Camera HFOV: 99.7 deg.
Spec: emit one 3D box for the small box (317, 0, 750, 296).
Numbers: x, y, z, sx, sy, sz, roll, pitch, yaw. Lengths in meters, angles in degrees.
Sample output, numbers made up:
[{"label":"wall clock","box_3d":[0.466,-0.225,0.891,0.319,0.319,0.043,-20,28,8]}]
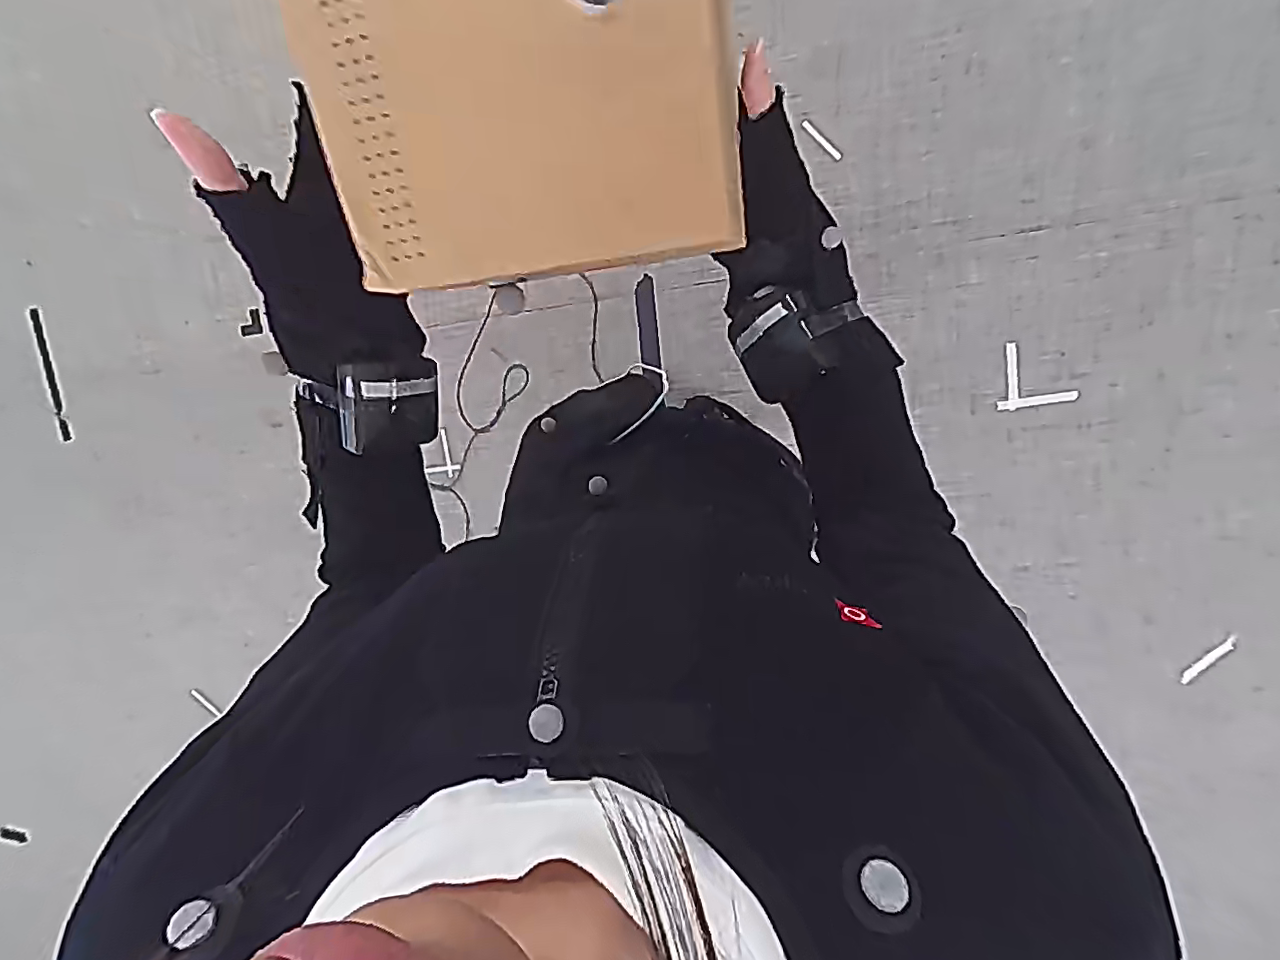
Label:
[{"label":"small box","box_3d":[-0.038,-0.201,0.279,0.176,0.168,0.179,-4,111,11]}]
